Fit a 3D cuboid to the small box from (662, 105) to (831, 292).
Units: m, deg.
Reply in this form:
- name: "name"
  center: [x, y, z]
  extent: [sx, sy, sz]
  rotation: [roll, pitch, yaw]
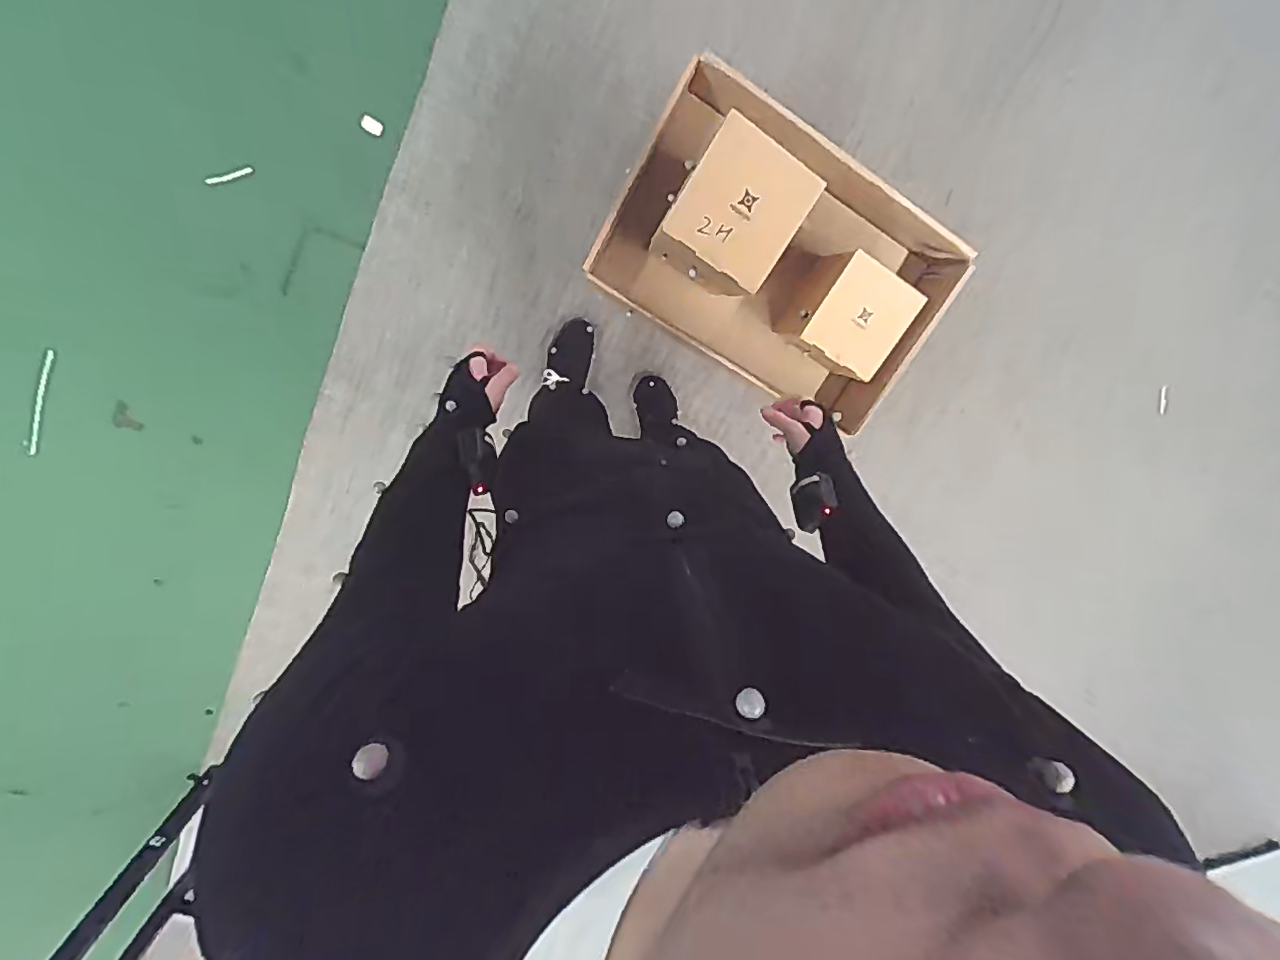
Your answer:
- name: "small box"
  center: [0.144, -0.406, 0.815]
  extent: [0.168, 0.176, 0.179]
  rotation: [31, 104, -11]
